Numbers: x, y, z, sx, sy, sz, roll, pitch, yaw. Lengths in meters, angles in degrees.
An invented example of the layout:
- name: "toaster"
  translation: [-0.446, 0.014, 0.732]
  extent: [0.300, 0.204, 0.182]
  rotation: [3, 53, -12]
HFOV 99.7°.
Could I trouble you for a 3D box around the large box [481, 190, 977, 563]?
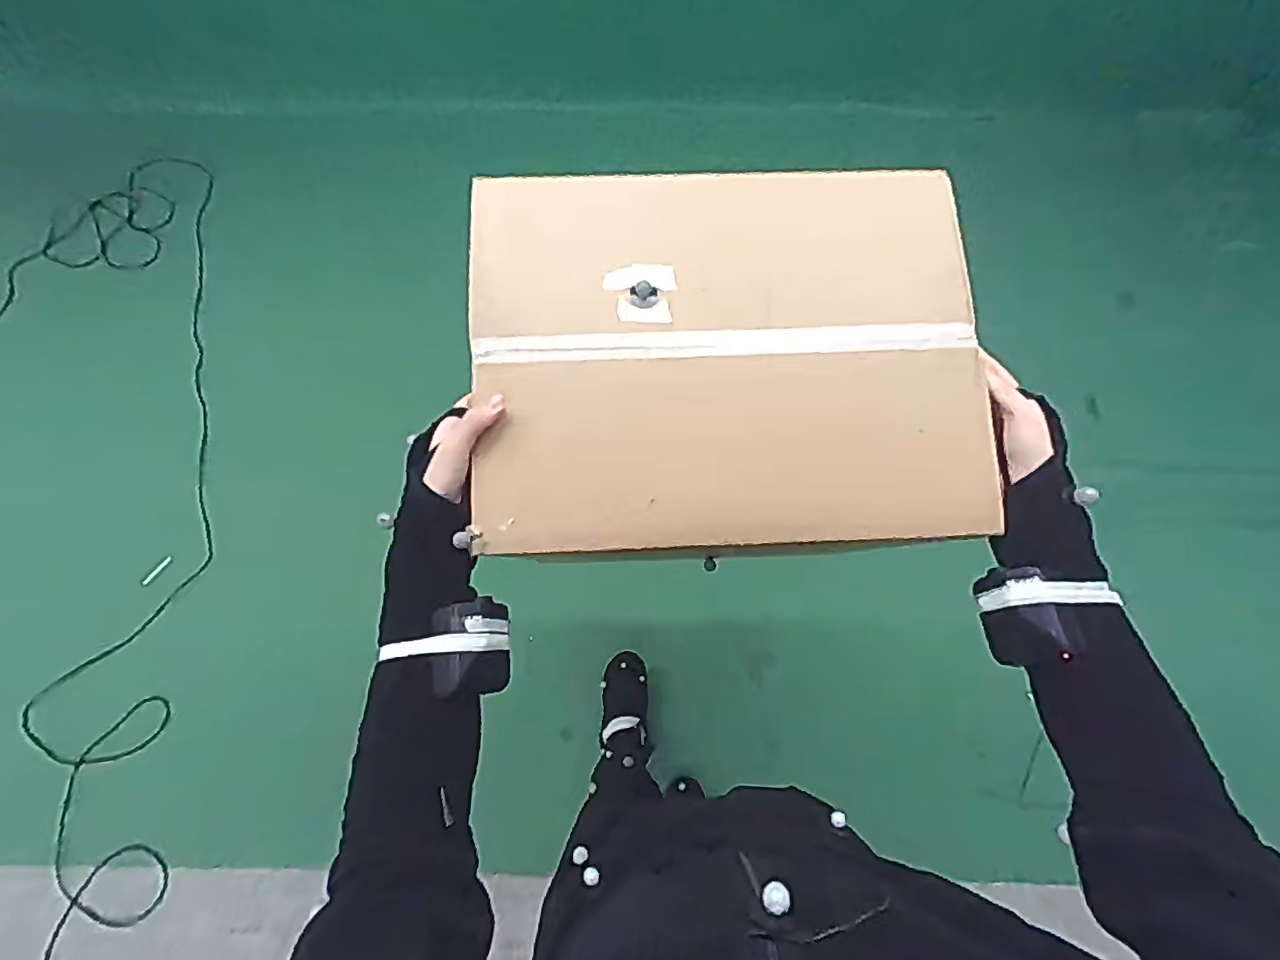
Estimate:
- name: "large box"
  translation: [0.067, -0.074, 0.602]
  extent: [0.408, 0.320, 0.320]
  rotation: [-3, 79, -1]
